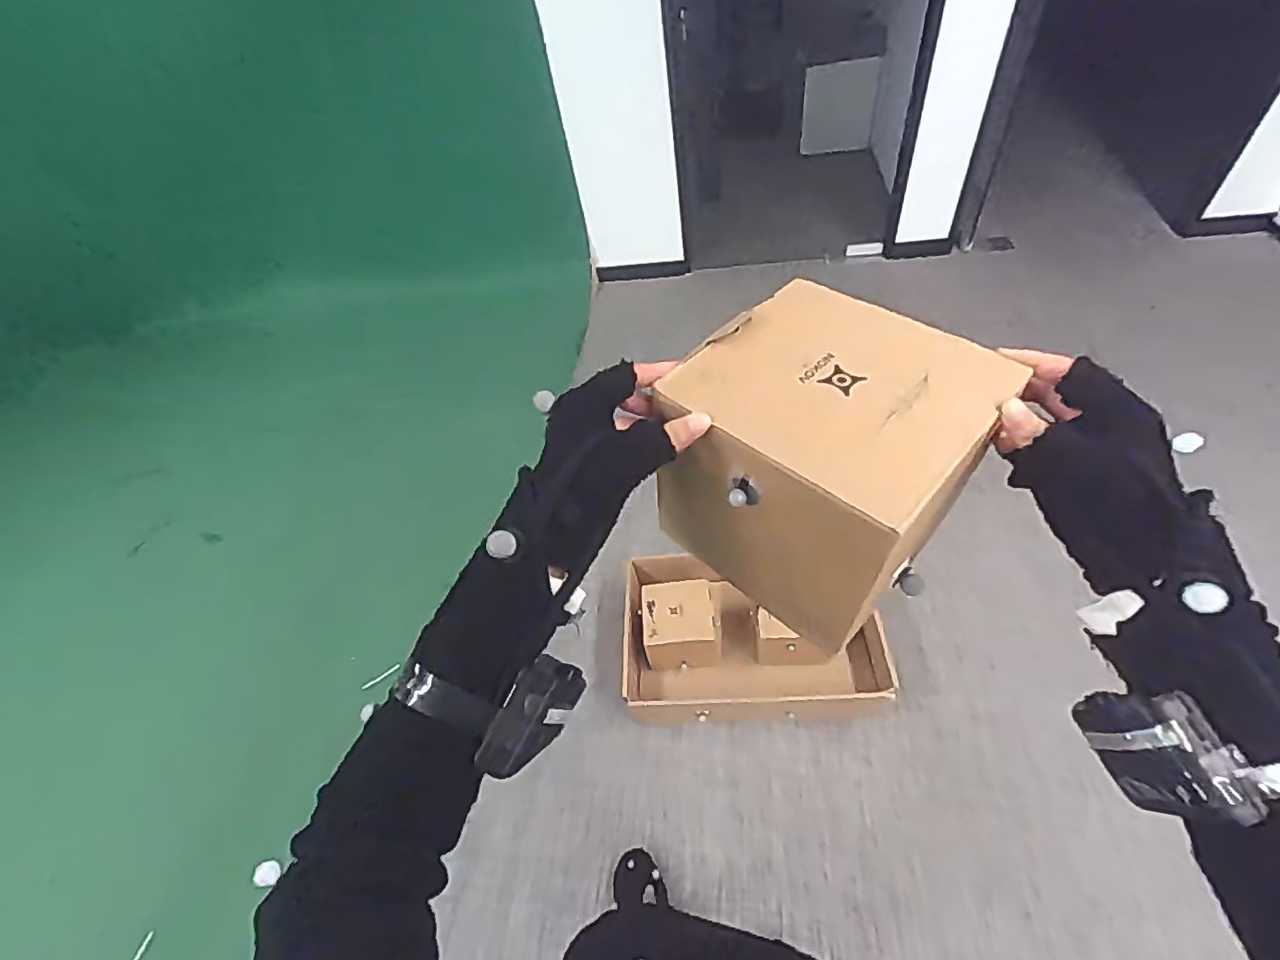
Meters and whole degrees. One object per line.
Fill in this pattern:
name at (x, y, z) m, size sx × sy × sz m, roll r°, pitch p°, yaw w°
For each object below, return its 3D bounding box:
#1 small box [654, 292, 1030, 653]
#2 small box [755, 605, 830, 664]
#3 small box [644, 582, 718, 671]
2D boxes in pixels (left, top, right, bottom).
small box at (0.131, -0.006, 0.403) m, size 0.168 × 0.176 × 0.179 m, roll -39°, pitch 56°, yaw -24°
small box at (0.385, 0.359, 1.372) m, size 0.179 × 0.176 × 0.168 m, roll -4°, pitch 50°, yaw 9°
small box at (0.107, 0.383, 1.407) m, size 0.179 × 0.176 × 0.168 m, roll -6°, pitch 49°, yaw 4°
